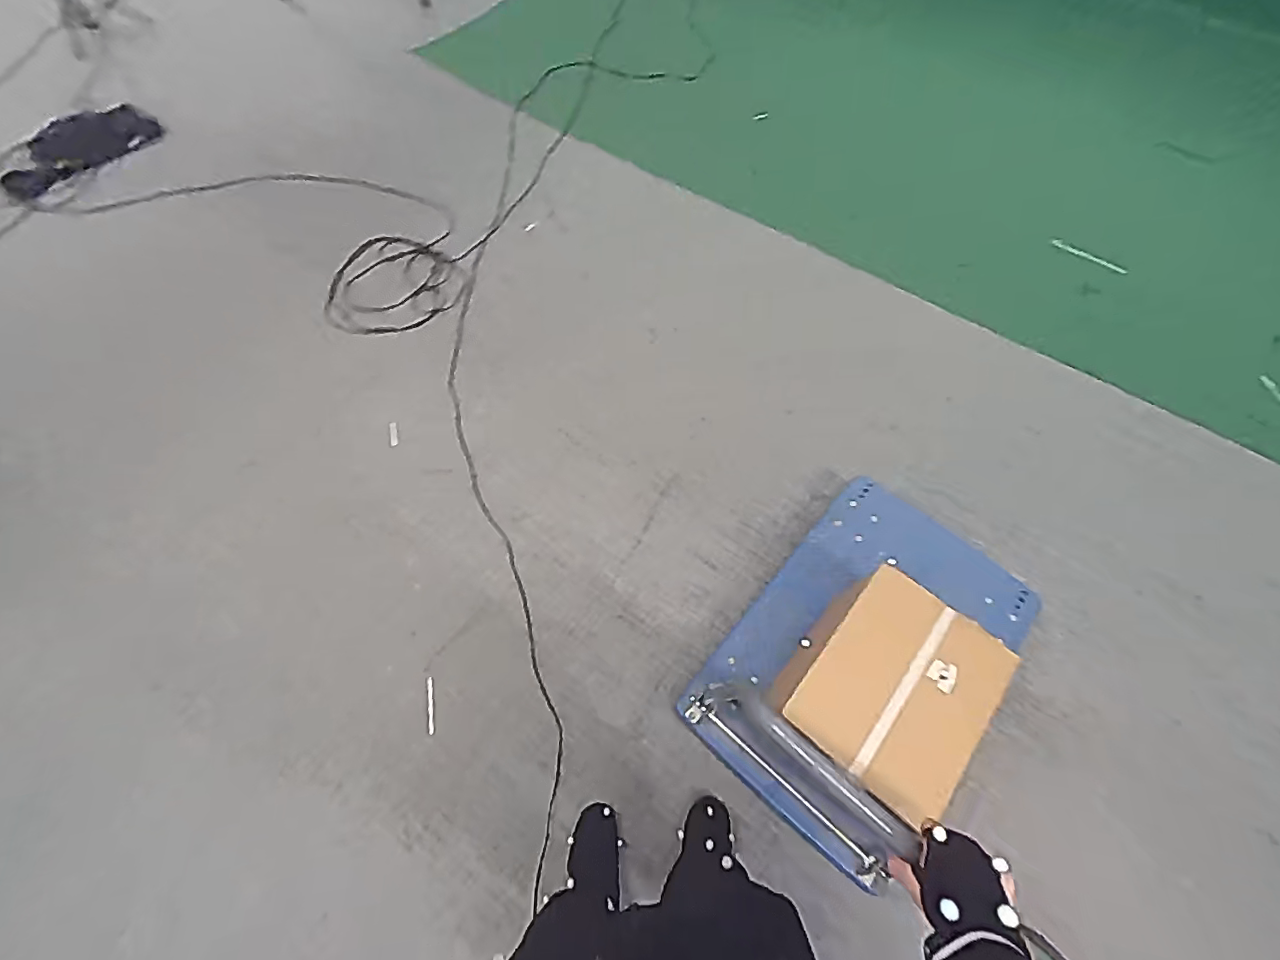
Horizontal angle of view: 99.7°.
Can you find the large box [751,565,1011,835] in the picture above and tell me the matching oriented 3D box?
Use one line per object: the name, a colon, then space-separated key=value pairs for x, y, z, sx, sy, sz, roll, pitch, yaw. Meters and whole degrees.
large box: x=0.500 y=0.471 z=1.184 sx=0.320 sy=0.320 sz=0.408 roll=38 pitch=68 yaw=15
